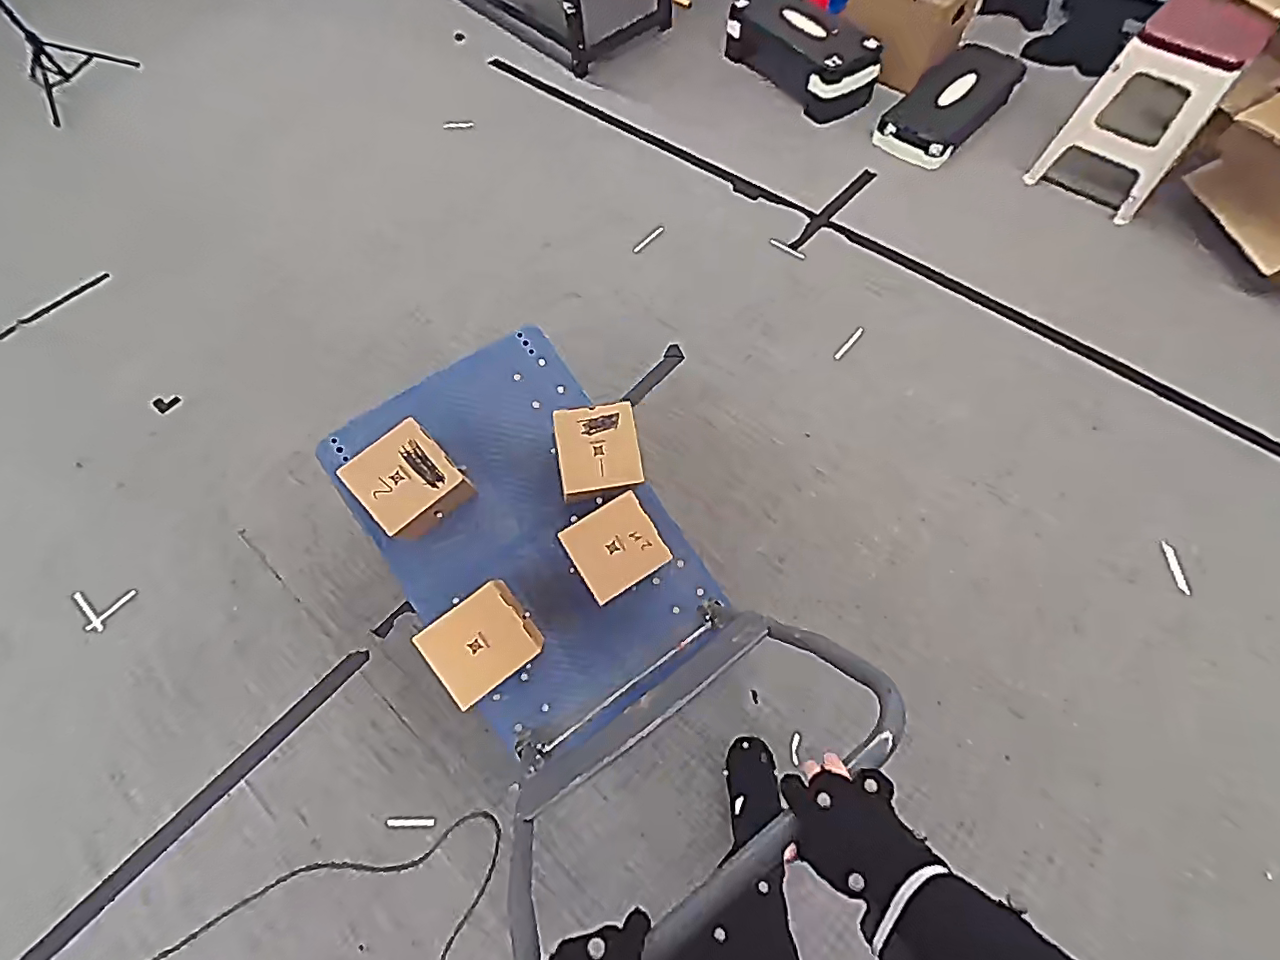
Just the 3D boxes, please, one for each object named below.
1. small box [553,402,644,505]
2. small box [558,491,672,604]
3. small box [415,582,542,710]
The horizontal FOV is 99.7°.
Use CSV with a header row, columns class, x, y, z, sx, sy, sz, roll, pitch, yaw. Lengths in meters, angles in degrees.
class,x,y,z,sx,sy,sz,roll,pitch,yaw
small box,-0.095,-0.053,1.179,0.168,0.176,0.179,-10,82,-8
small box,-0.057,0.146,1.149,0.179,0.176,0.168,-31,86,-11
small box,-0.311,0.325,1.086,0.179,0.176,0.168,-37,86,-14
